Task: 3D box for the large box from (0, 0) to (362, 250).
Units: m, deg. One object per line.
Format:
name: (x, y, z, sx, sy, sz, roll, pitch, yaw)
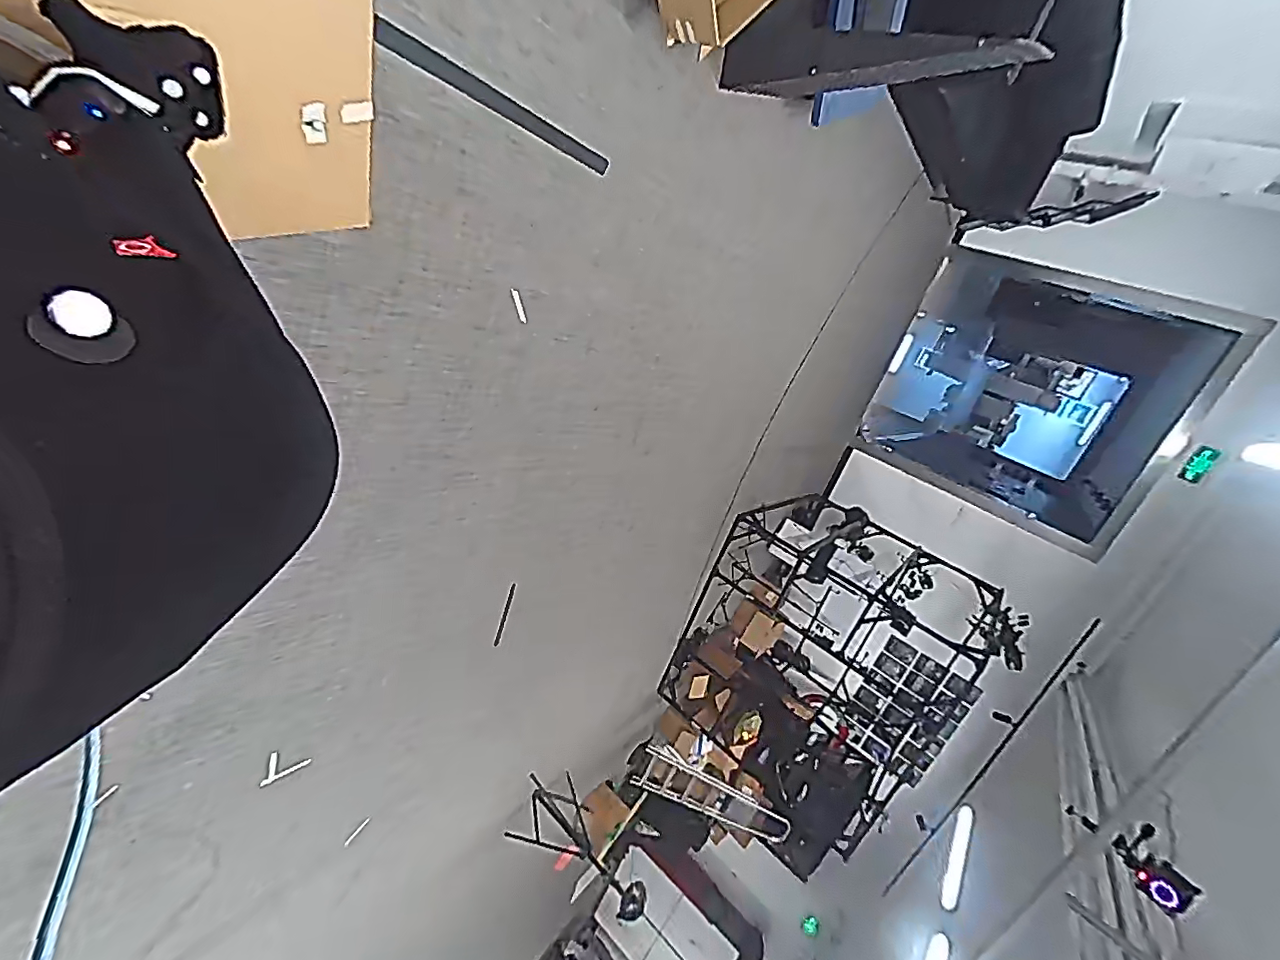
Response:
large box: (-0.605, -0.521, 0.645, 0.320, 0.408, 0.320, -46, 163, -52)
